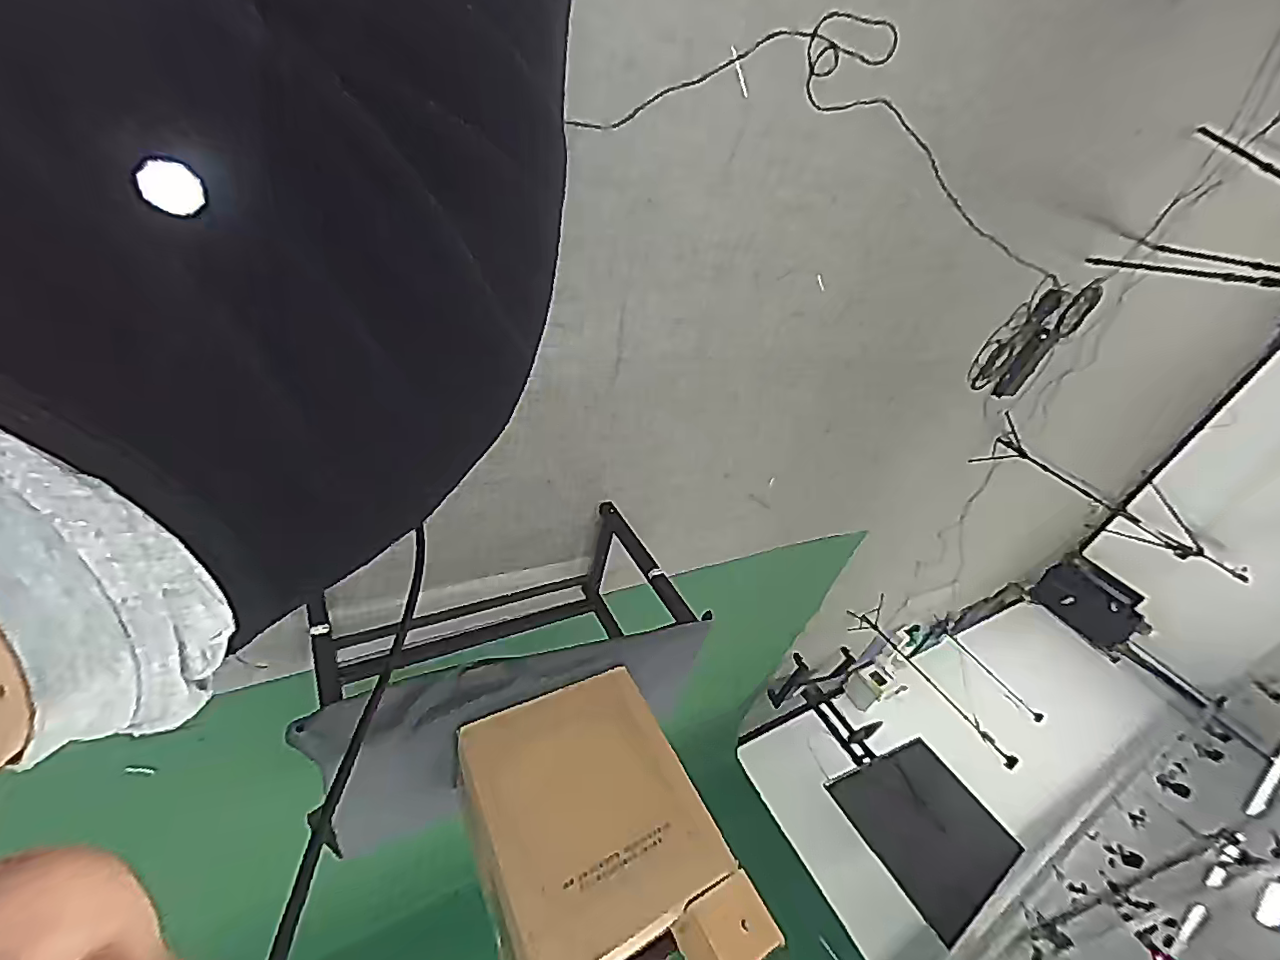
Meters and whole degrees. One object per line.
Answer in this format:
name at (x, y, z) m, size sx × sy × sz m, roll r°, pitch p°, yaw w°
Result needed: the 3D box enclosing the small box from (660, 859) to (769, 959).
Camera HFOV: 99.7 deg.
small box at (0.180, 1.095, 1.345) m, size 0.179 × 0.176 × 0.168 m, roll -9°, pitch 131°, yaw -36°
